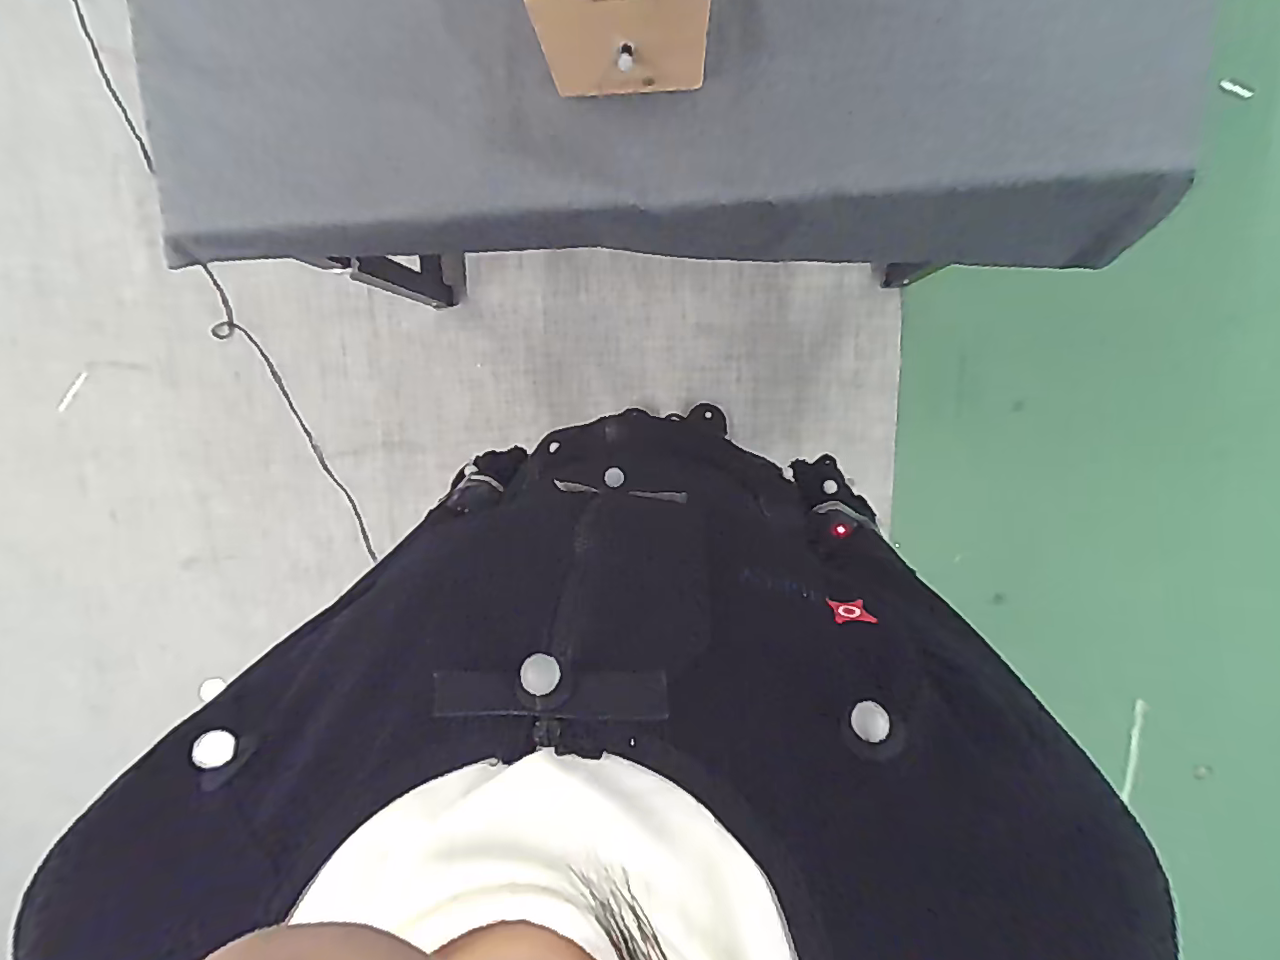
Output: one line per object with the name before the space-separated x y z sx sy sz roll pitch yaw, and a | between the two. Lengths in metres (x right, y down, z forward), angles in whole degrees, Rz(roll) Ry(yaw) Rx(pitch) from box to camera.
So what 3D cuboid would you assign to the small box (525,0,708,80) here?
small box | -0.017 -0.523 0.524 0.168 0.176 0.179 -2 100 5
